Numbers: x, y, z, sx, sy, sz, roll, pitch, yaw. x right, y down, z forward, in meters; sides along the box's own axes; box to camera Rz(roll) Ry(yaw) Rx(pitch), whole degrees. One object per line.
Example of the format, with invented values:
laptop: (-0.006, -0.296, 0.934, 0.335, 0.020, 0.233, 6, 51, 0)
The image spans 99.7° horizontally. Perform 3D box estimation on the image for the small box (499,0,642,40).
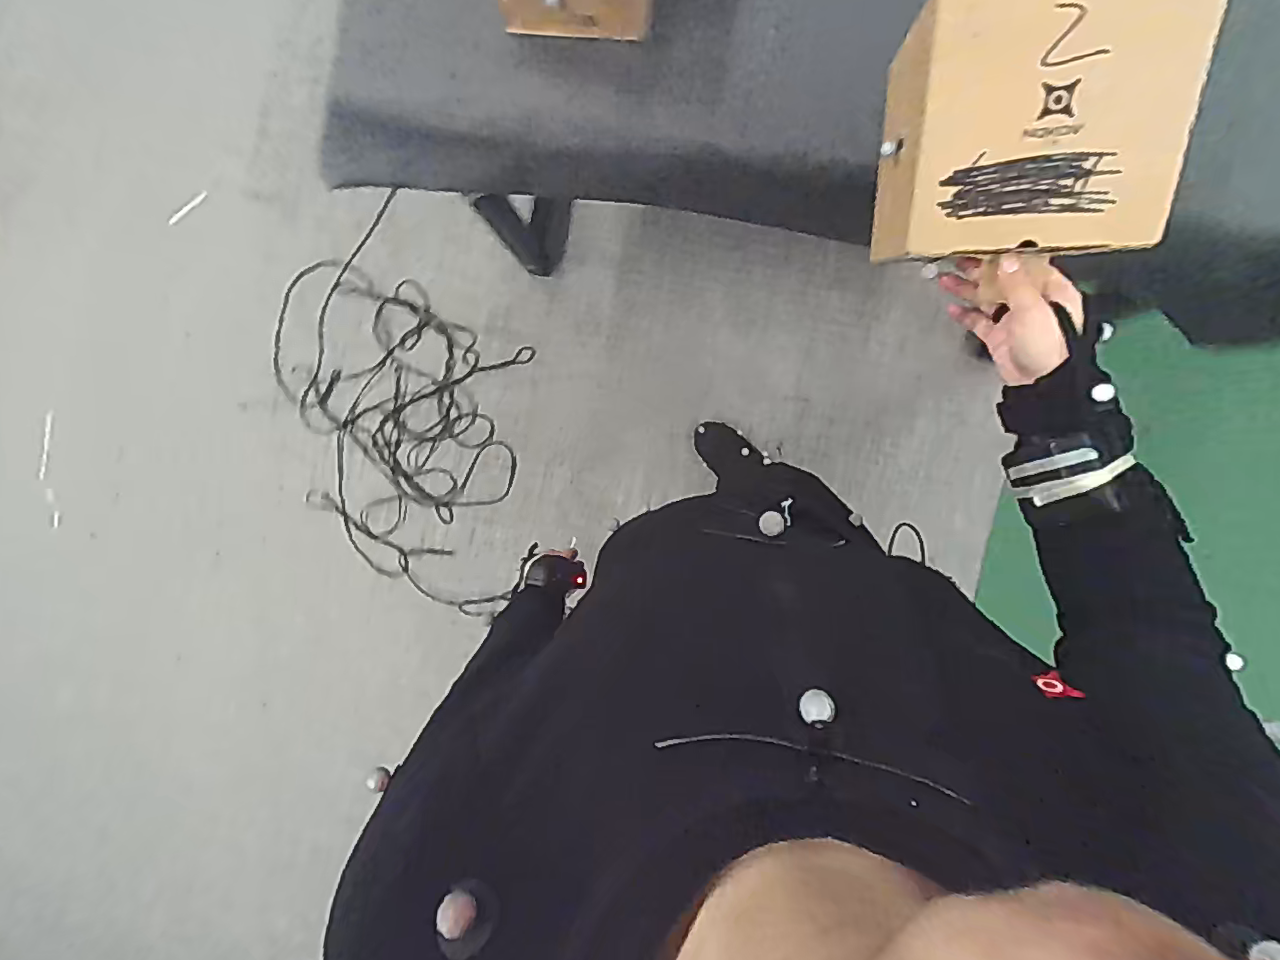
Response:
small box: (-0.078, -0.602, 0.546, 0.168, 0.176, 0.179, 6, 92, 4)
